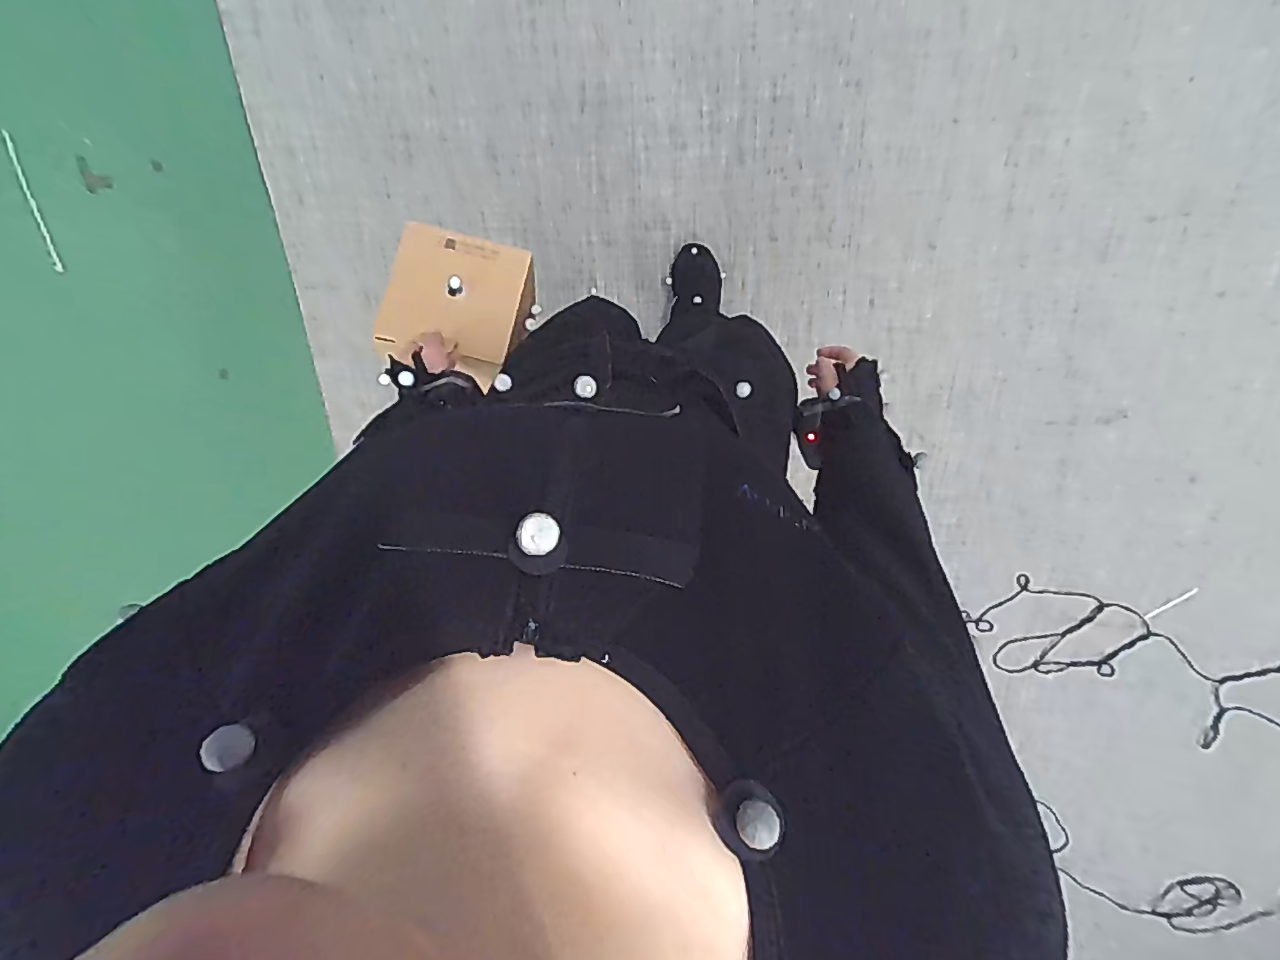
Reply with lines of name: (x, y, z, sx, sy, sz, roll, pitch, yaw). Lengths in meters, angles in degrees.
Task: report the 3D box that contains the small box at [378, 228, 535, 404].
small box: (-0.249, -0.227, 0.774, 0.168, 0.179, 0.176, 11, 80, -7)
